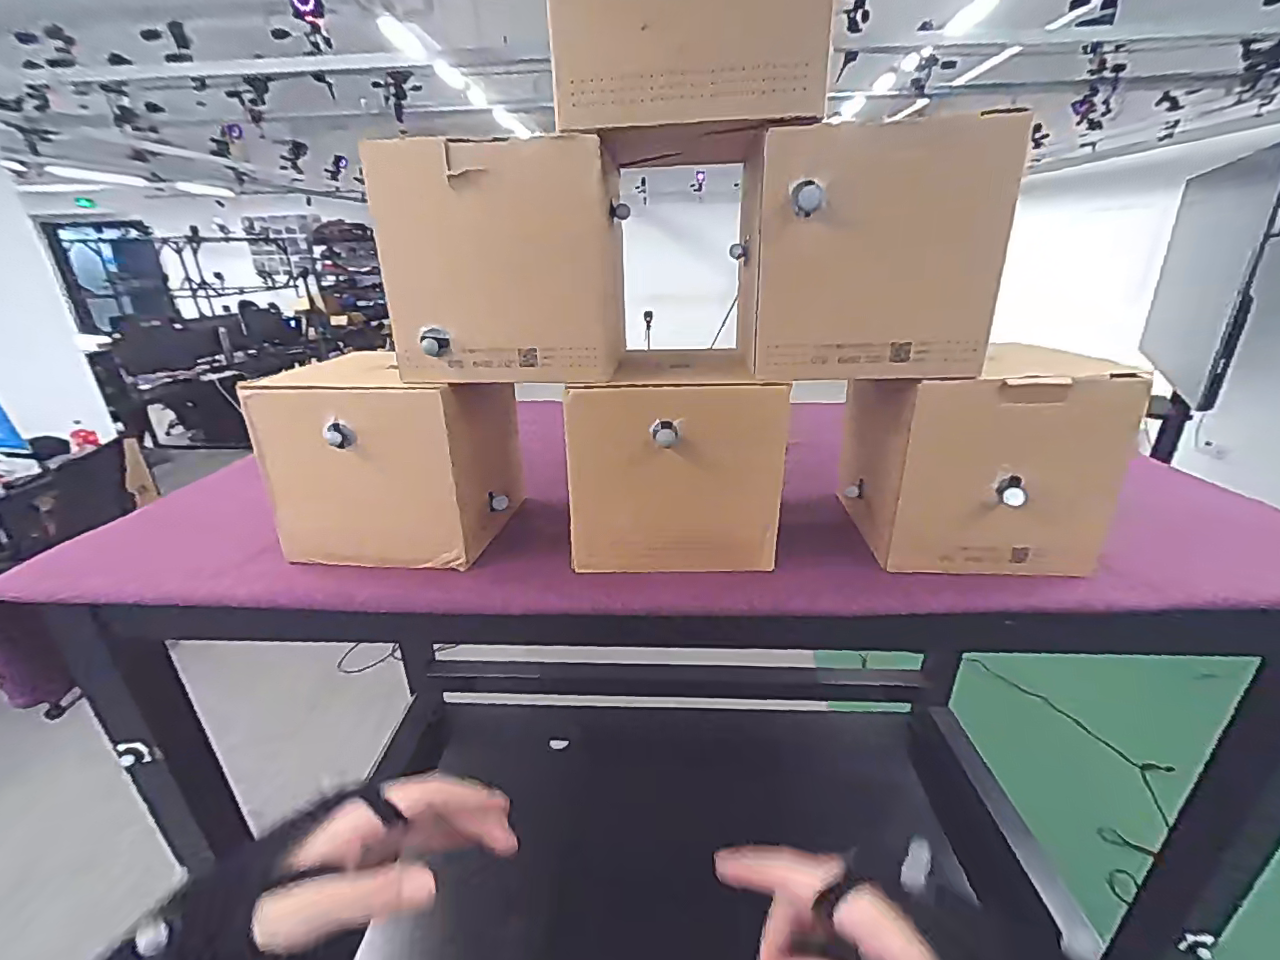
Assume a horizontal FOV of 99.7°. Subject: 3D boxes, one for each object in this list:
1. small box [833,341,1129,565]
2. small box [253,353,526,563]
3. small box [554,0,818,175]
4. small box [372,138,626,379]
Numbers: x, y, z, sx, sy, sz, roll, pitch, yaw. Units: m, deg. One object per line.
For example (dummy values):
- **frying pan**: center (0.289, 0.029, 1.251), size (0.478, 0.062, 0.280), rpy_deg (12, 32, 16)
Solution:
- **small box**: center (0.291, -0.032, 0.511), size (0.168, 0.176, 0.179), rpy_deg (1, 23, 5)
- **small box**: center (-0.226, -0.030, 0.537), size (0.179, 0.176, 0.168), rpy_deg (3, 22, 7)
- **small box**: center (0.035, -0.337, 0.409), size (0.179, 0.176, 0.168), rpy_deg (0, 22, 6)
- **small box**: center (-0.102, -0.186, 0.482), size (0.168, 0.176, 0.179), rpy_deg (0, 21, 3)
